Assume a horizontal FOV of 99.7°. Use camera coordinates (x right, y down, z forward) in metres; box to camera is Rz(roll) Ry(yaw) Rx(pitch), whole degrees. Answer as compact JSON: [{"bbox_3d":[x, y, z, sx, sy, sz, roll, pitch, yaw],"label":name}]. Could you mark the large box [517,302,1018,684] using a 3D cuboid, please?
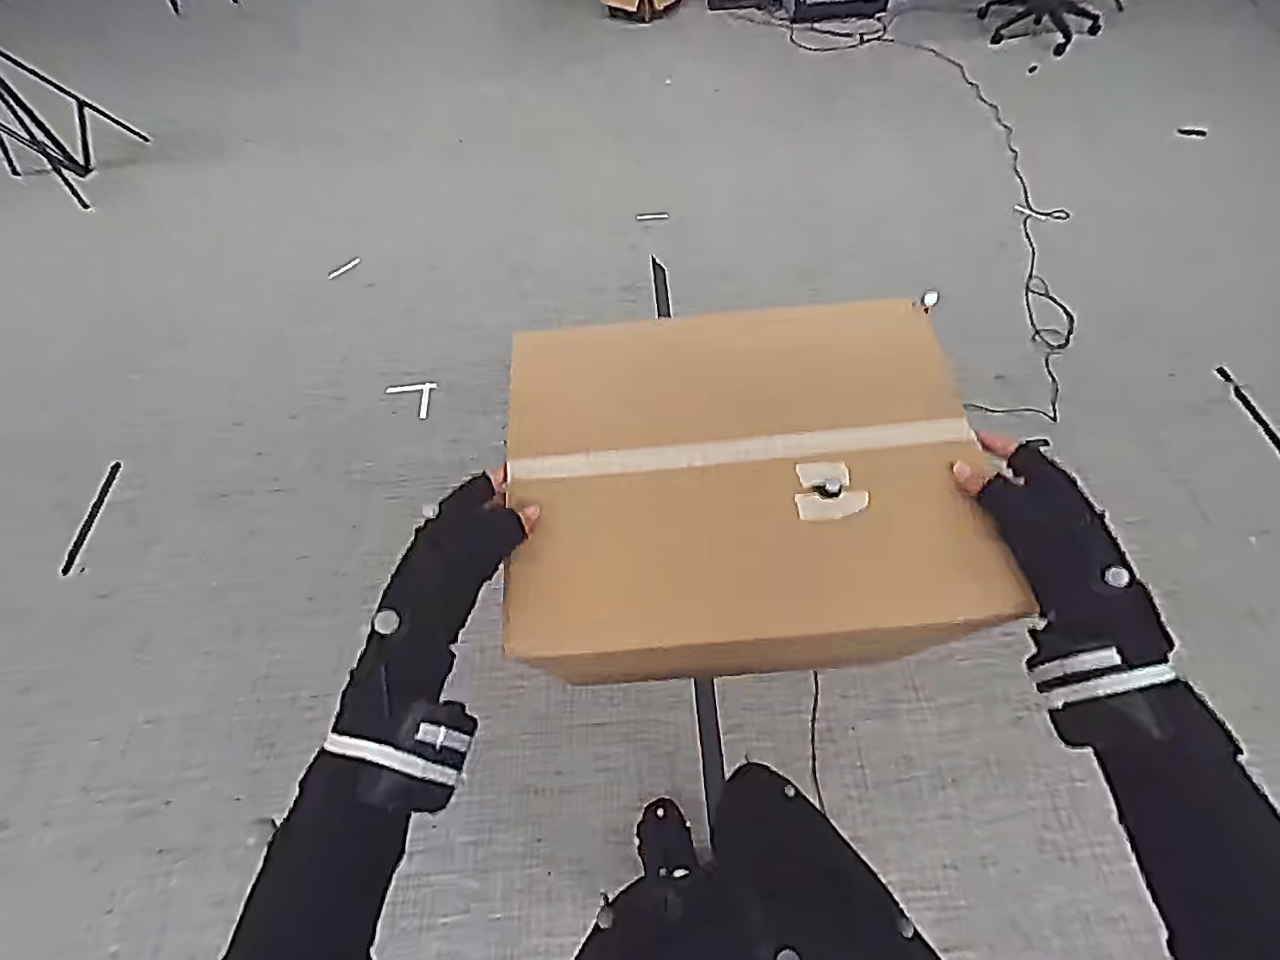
[{"bbox_3d":[0.092,0.040,0.619,0.408,0.320,0.320,-5,66,0],"label":"large box"}]
